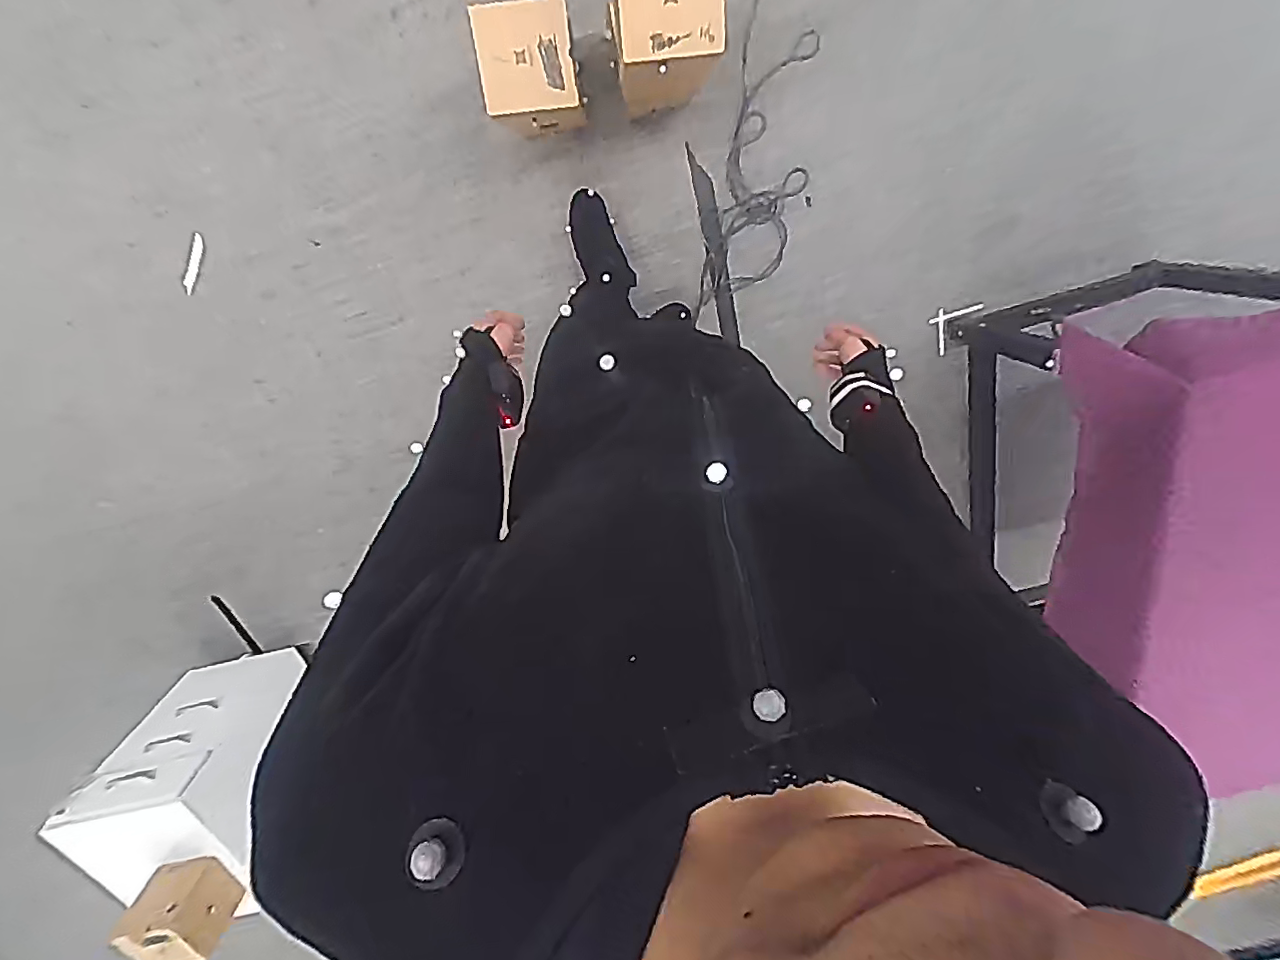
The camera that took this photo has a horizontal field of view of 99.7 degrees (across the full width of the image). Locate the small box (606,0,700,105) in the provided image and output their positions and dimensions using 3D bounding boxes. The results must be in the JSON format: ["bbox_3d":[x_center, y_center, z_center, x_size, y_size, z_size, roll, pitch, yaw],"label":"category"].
[{"bbox_3d":[0.035,-0.853,1.045,0.179,0.176,0.168,-13,115,3],"label":"small box"}]

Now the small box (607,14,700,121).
[{"bbox_3d":[0.026,-0.923,1.190,0.168,0.176,0.179,-14,116,4],"label":"small box"}]

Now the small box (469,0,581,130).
[{"bbox_3d":[-0.211,-0.796,1.051,0.179,0.176,0.168,-6,115,0],"label":"small box"}]

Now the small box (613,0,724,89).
[{"bbox_3d":[0.042,-0.781,0.897,0.168,0.176,0.179,-6,114,0],"label":"small box"}]

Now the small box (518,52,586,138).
[{"bbox_3d":[-0.217,-0.880,1.193,0.168,0.176,0.179,-10,116,2],"label":"small box"}]
